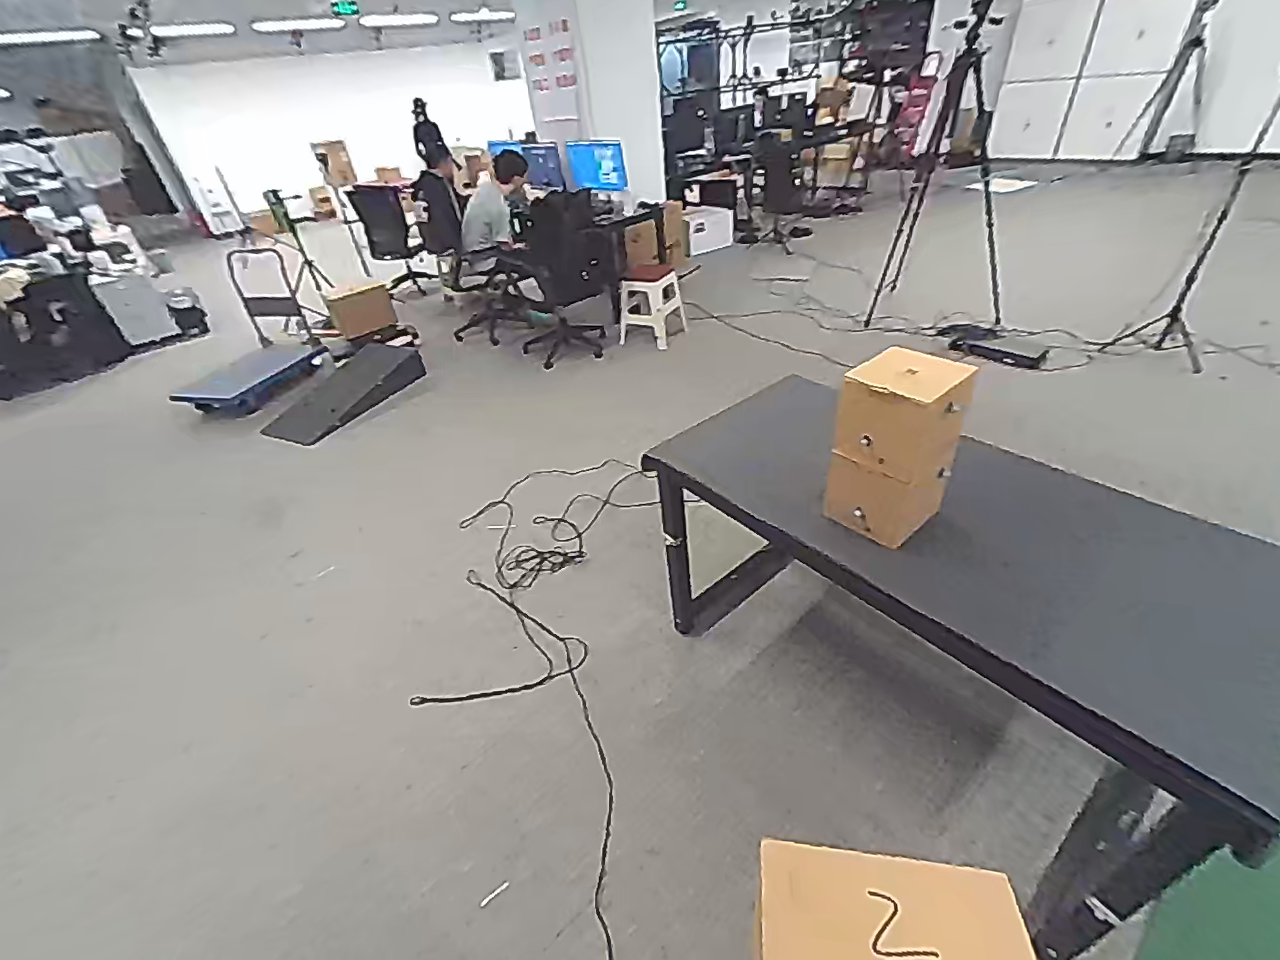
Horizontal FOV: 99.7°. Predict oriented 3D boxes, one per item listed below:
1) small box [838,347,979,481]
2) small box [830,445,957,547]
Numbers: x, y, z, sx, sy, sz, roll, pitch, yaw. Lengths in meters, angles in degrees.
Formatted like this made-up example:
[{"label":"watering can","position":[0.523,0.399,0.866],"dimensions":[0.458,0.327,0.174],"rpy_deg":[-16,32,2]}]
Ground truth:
[{"label":"small box","position":[0.494,-0.127,1.017],"dimensions":[0.179,0.176,0.168],"rpy_deg":[-30,42,-28]},{"label":"small box","position":[0.510,0.004,1.112],"dimensions":[0.179,0.176,0.168],"rpy_deg":[-29,41,-28]}]
